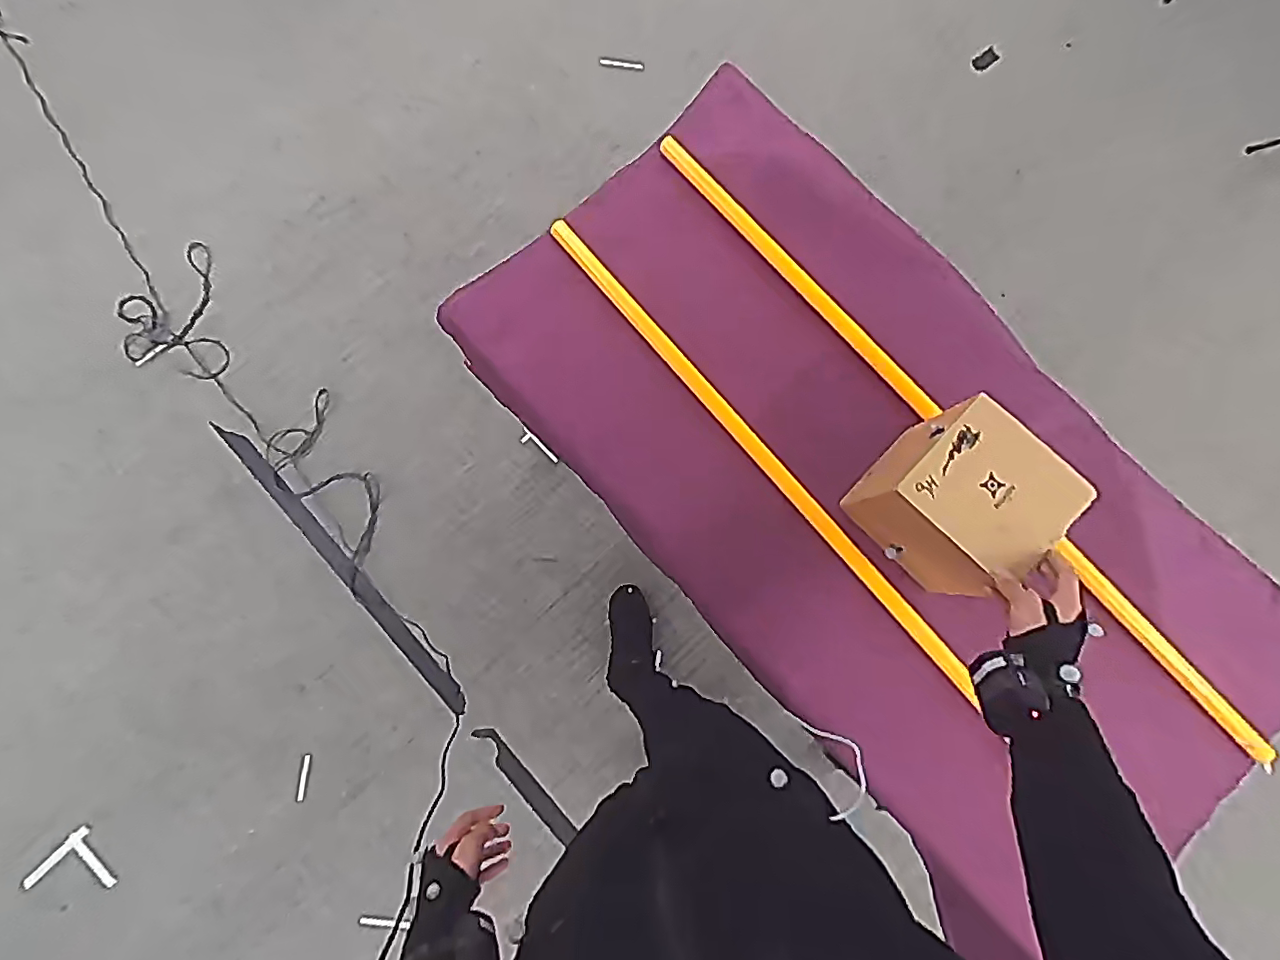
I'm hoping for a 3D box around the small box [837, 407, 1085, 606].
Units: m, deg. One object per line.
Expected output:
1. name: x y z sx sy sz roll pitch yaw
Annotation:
1. small box: 0.397 0.037 0.702 0.179 0.176 0.168 45 82 4
